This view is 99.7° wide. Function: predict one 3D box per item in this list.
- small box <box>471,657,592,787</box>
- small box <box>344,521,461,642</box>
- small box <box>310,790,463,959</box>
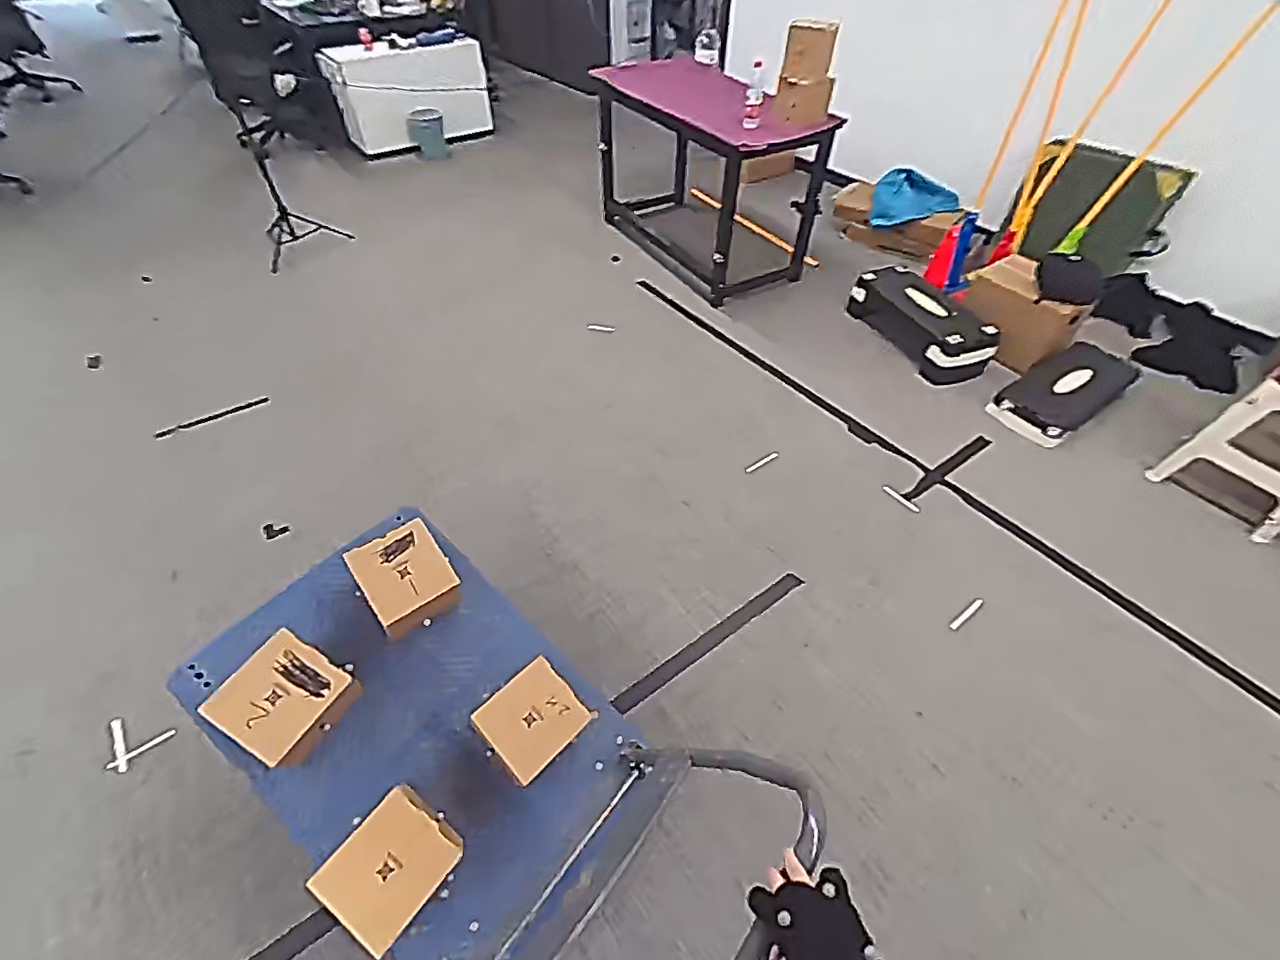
[{"bbox_3d":[-0.226,0.499,1.113,0.179,0.176,0.168,-38,79,-30],"label":"small box"},{"bbox_3d":[-0.507,0.225,1.170,0.168,0.176,0.179,-31,77,-29],"label":"small box"},{"bbox_3d":[-0.430,0.680,0.951,0.168,0.176,0.179,40,57,6],"label":"small box"}]
